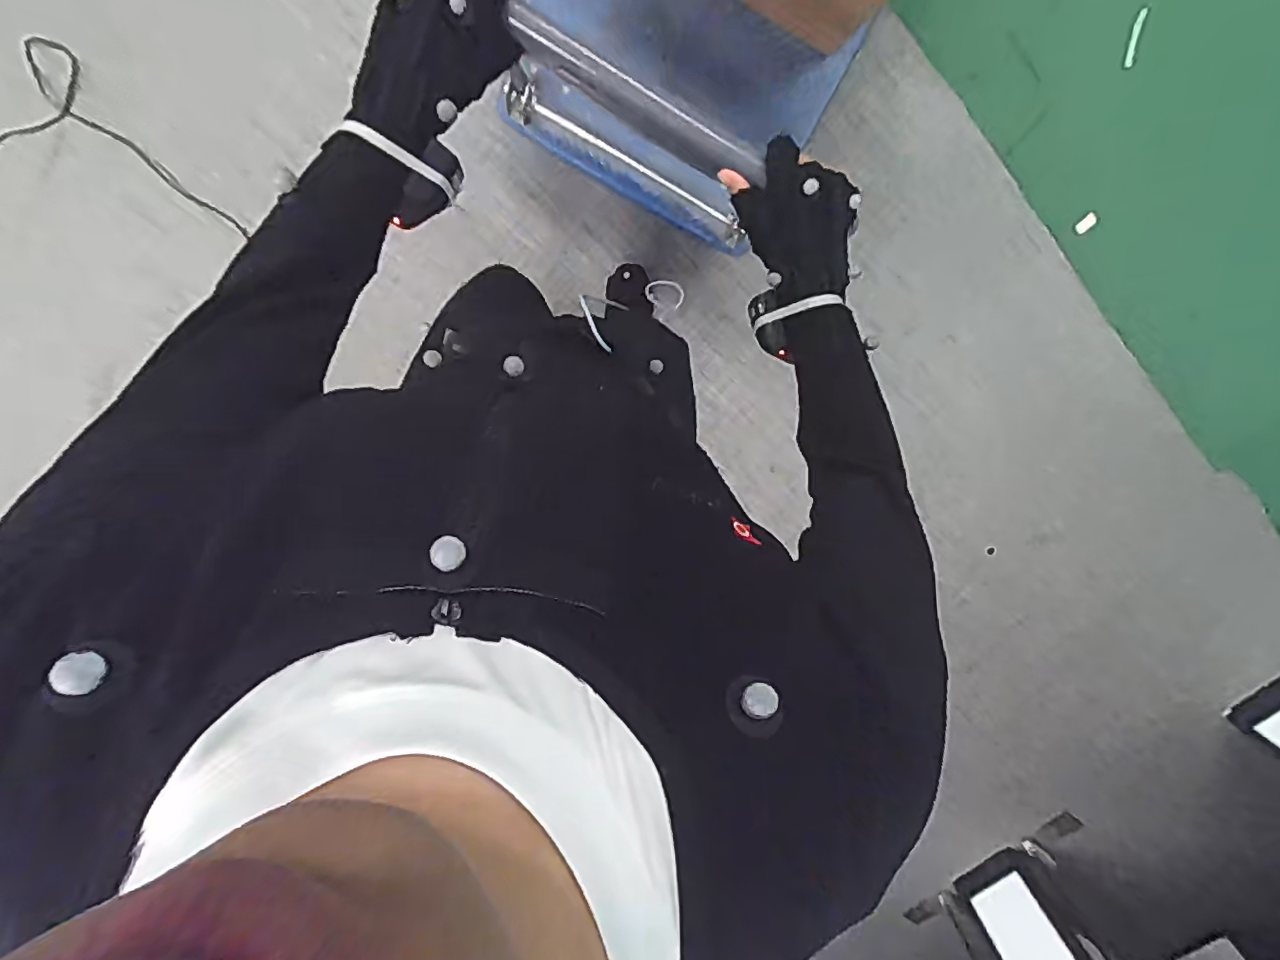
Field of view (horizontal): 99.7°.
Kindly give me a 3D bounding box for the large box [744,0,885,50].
[{"bbox_3d":[0.252,-0.959,0.811,0.408,0.320,0.320,23,109,-10],"label":"large box"}]
